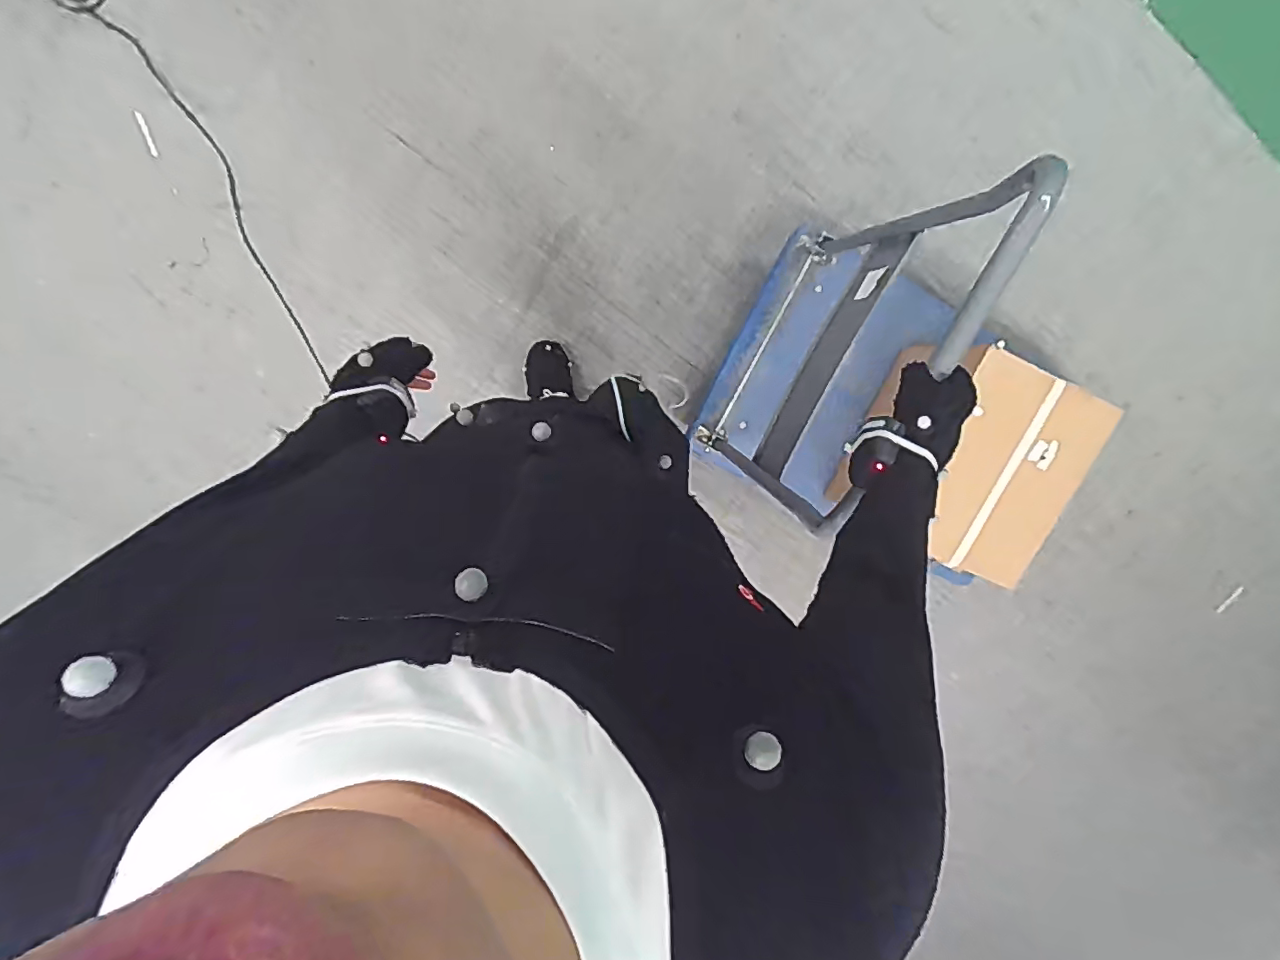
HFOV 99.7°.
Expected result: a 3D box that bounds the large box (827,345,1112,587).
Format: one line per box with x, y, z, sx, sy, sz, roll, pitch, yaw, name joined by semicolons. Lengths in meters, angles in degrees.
0.682;-0.044;1.192;0.320;0.320;0.408;22;100;-9;large box
